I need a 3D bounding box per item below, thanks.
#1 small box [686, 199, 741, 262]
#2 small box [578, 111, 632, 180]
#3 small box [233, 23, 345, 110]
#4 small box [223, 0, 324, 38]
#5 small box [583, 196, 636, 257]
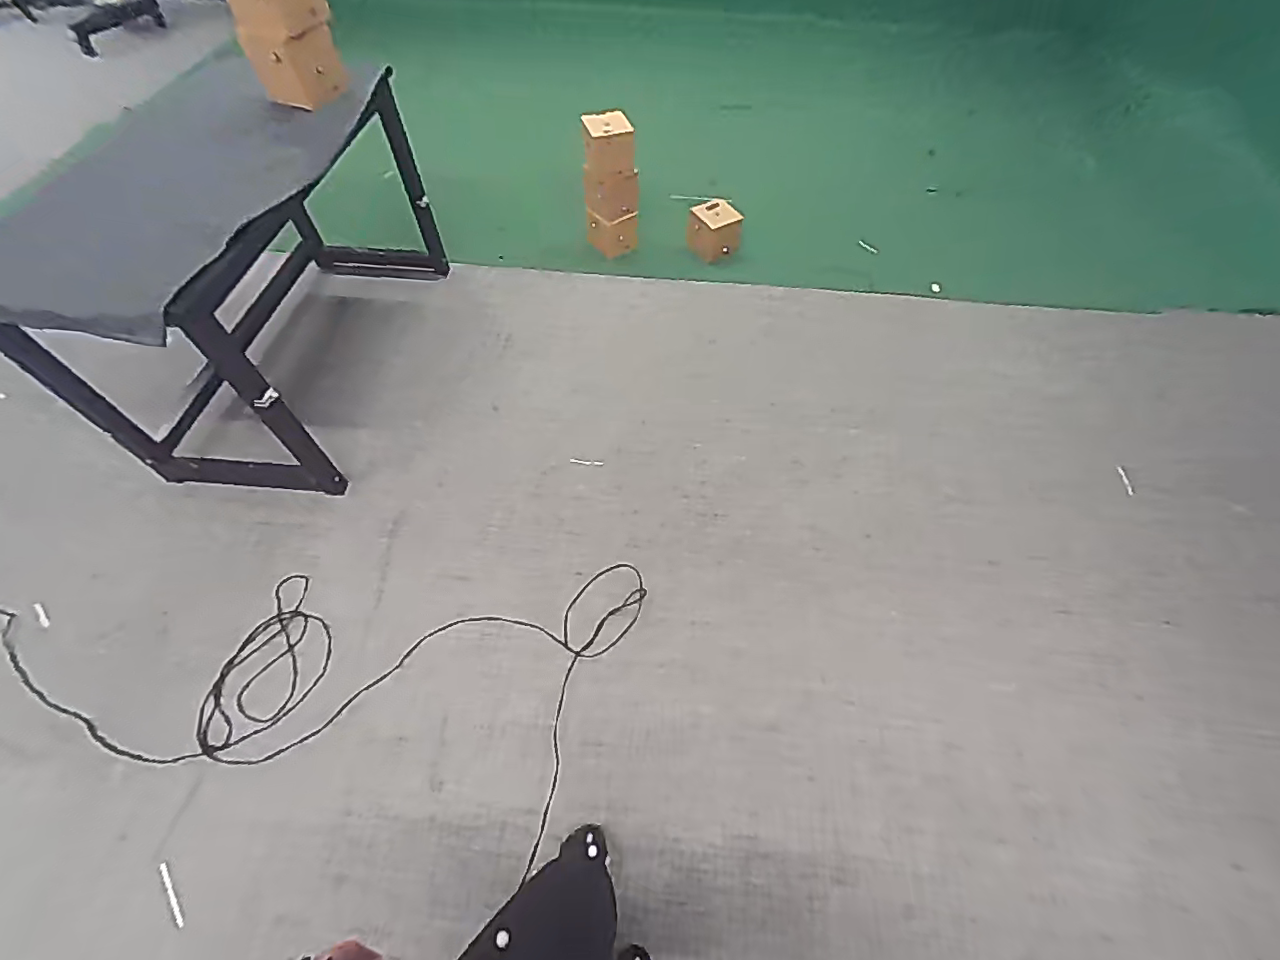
[{"bbox_3d":[0.314,-1.093,2.371,0.168,0.176,0.179,-27,62,-17],"label":"small box"},{"bbox_3d":[-0.137,-1.309,2.119,0.168,0.176,0.179,-16,58,-10],"label":"small box"},{"bbox_3d":[-0.994,-1.193,1.550,0.179,0.176,0.168,21,59,16],"label":"small box"},{"bbox_3d":[-0.984,-1.298,1.425,0.179,0.176,0.168,16,57,13],"label":"small box"},{"bbox_3d":[-0.131,-1.110,2.382,0.168,0.176,0.179,-34,62,-20],"label":"small box"}]
